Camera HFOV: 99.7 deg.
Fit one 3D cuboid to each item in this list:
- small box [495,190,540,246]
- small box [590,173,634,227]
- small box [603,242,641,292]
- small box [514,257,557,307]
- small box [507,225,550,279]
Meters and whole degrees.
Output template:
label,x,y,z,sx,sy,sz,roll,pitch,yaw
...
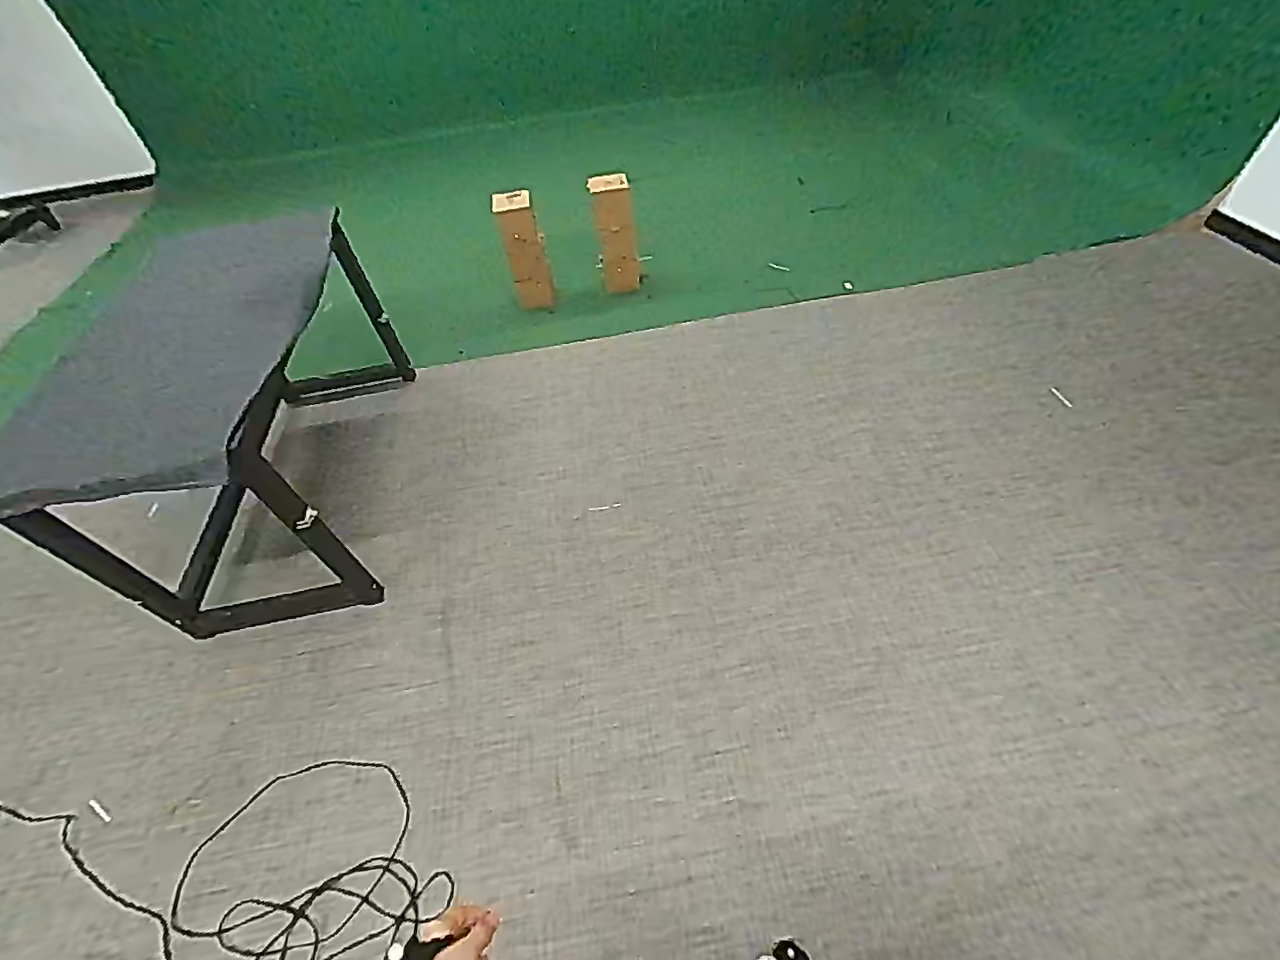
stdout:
label,x,y,z,sx,sy,sz,roll,pitch,yaw
small box,-0.557,-1.197,2.470,0.168,0.176,0.179,-10,50,-2
small box,-0.128,-1.290,2.500,0.179,0.176,0.168,-9,50,0
small box,-0.089,-1.081,2.750,0.179,0.176,0.168,-8,50,0
small box,-0.522,-0.995,2.725,0.179,0.176,0.168,-6,50,2
small box,-0.536,-1.090,2.593,0.179,0.176,0.168,-12,50,-3
